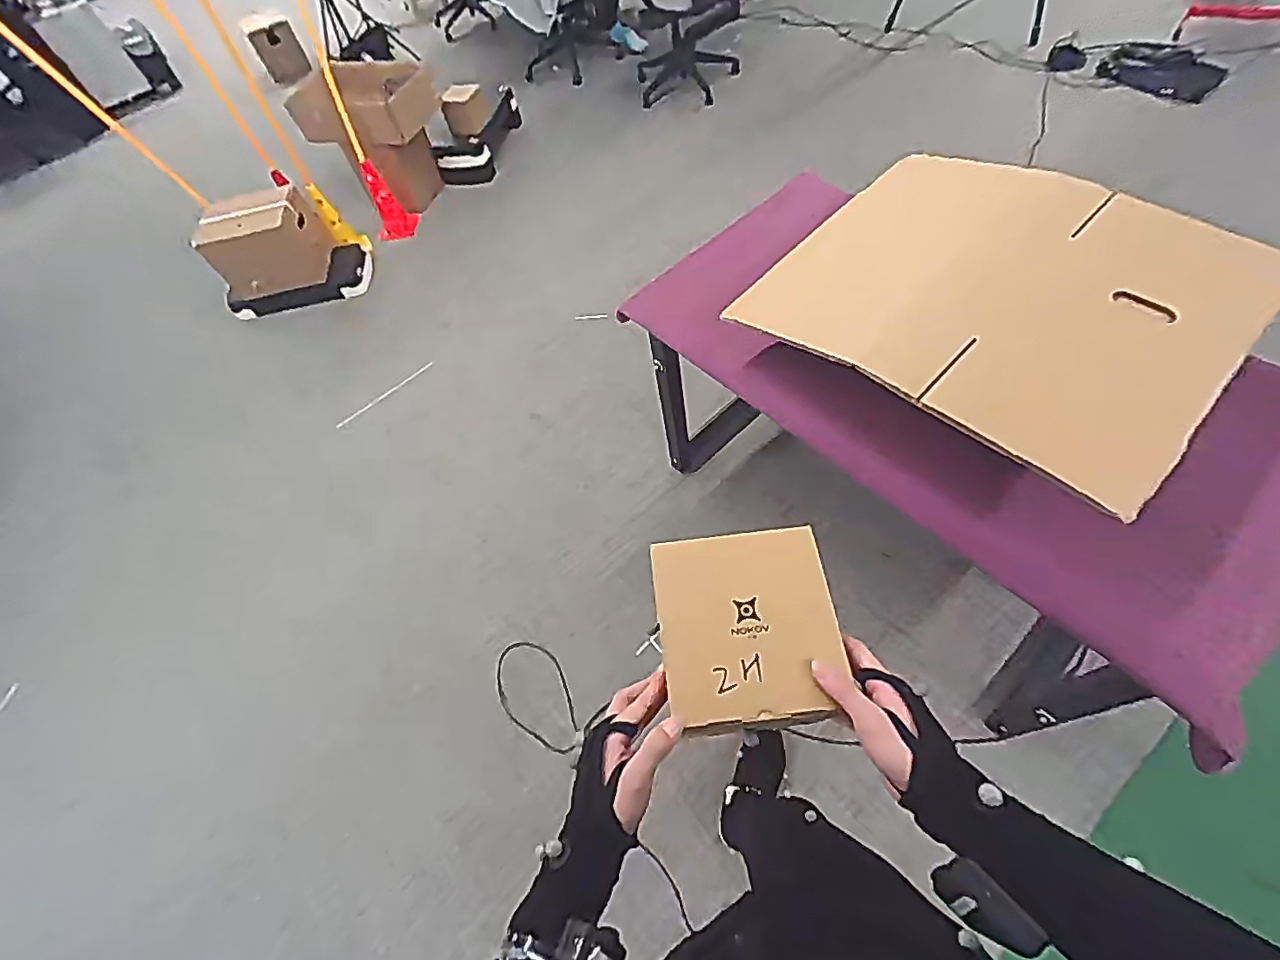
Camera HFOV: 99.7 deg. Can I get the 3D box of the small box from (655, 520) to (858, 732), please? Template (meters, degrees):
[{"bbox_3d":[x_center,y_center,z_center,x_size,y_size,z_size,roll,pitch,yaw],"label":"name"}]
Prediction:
[{"bbox_3d":[0.105,0.161,0.576,0.168,0.176,0.179,-6,61,1],"label":"small box"}]
